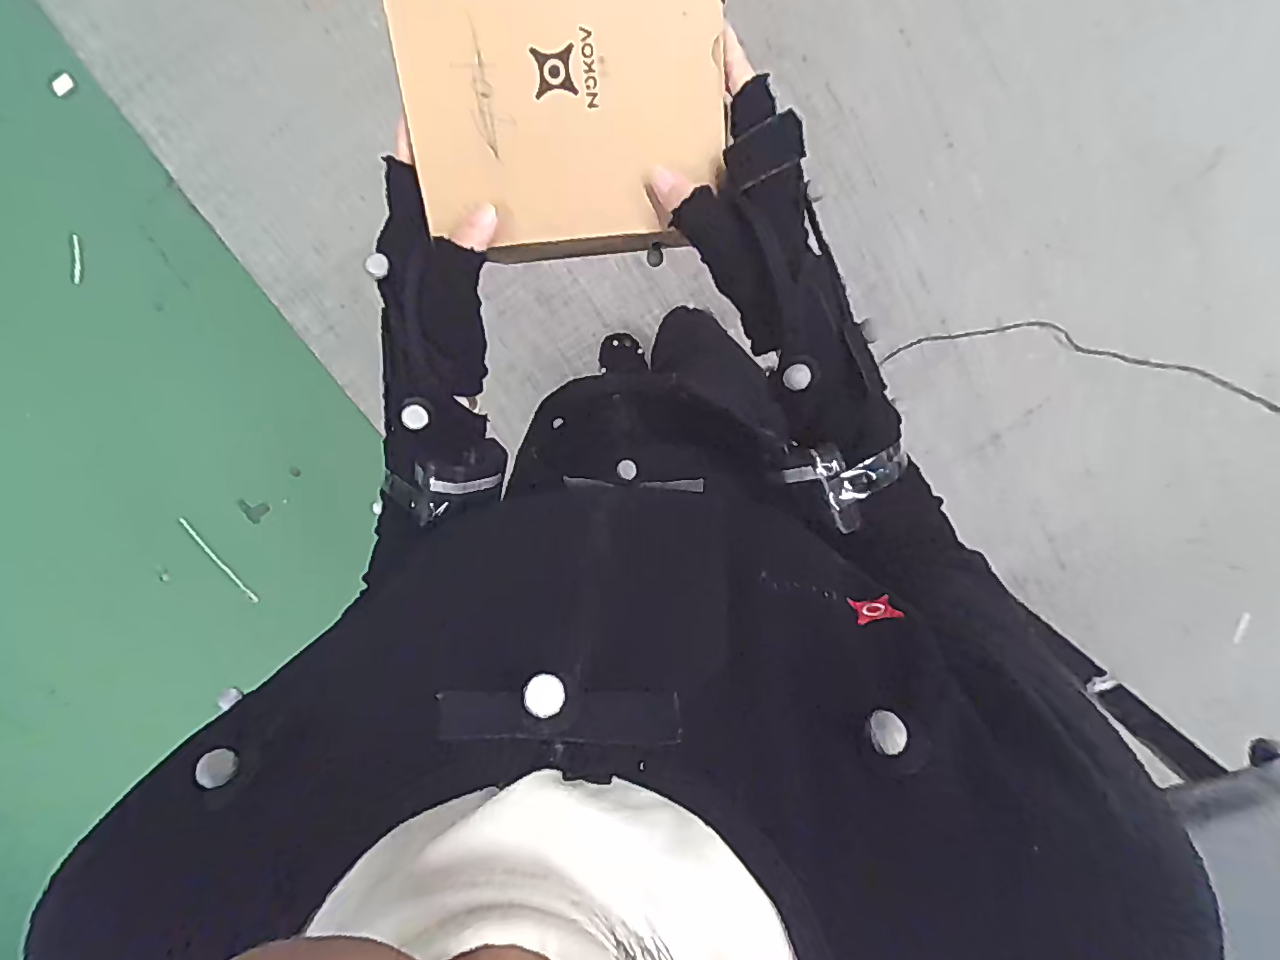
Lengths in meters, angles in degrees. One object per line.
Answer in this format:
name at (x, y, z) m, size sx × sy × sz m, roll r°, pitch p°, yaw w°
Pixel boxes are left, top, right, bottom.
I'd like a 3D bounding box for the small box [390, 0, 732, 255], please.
small box at (-0.039, -0.253, 0.364) m, size 0.179 × 0.176 × 0.168 m, roll -5°, pitch 108°, yaw 4°
